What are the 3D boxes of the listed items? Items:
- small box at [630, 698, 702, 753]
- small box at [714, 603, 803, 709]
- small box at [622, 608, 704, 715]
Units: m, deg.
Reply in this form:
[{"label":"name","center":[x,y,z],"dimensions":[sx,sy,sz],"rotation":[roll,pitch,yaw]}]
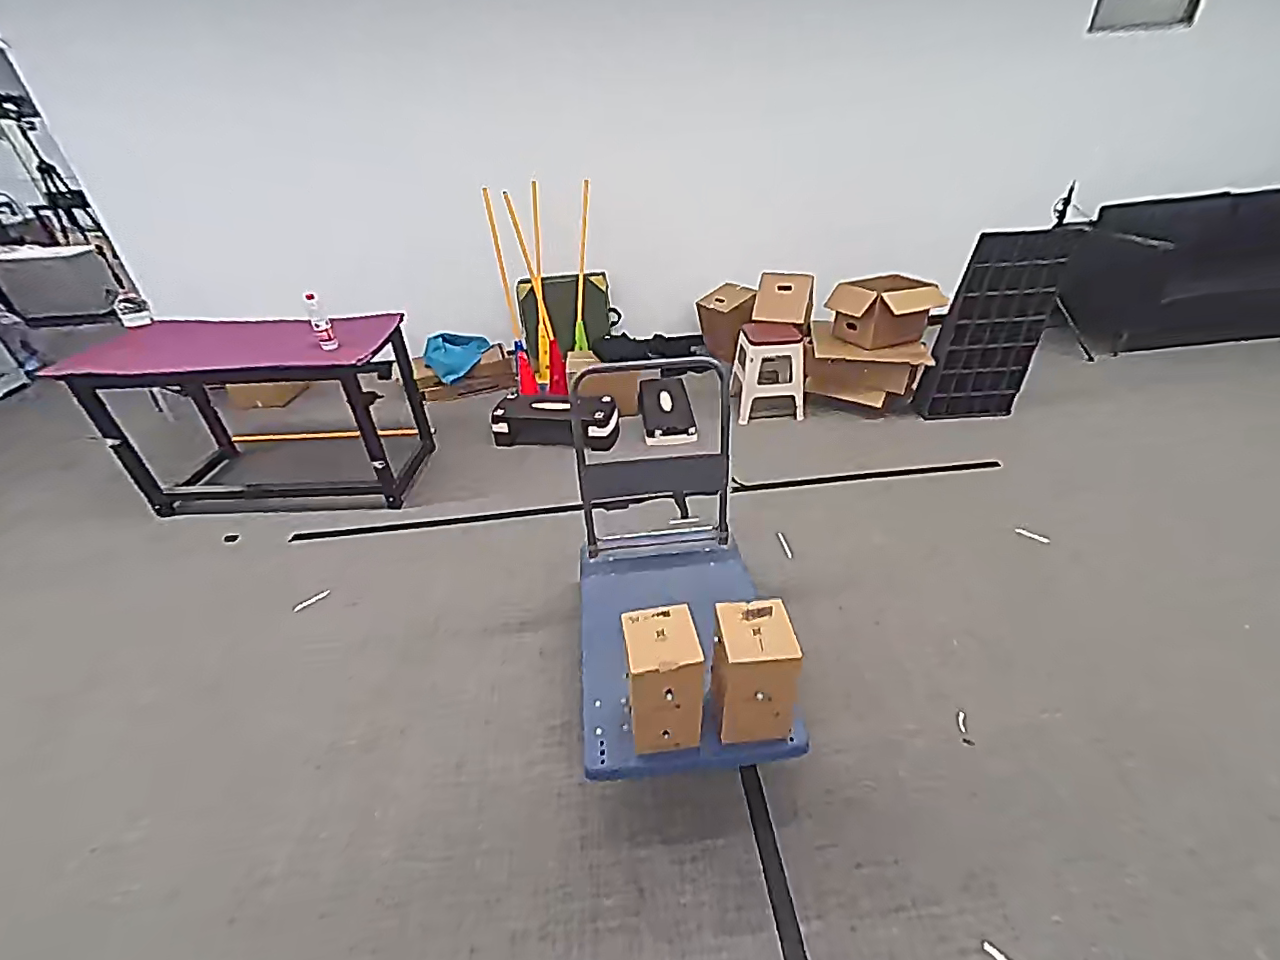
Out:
[{"label":"small box","center":[0.060,0.571,1.375],"dimensions":[0.168,0.176,0.179],"rotation":[-5,33,-5]},{"label":"small box","center":[0.272,0.417,1.291],"dimensions":[0.168,0.176,0.179],"rotation":[-3,34,-2]},{"label":"small box","center":[0.052,0.435,1.282],"dimensions":[0.168,0.176,0.179],"rotation":[-6,35,-6]}]
